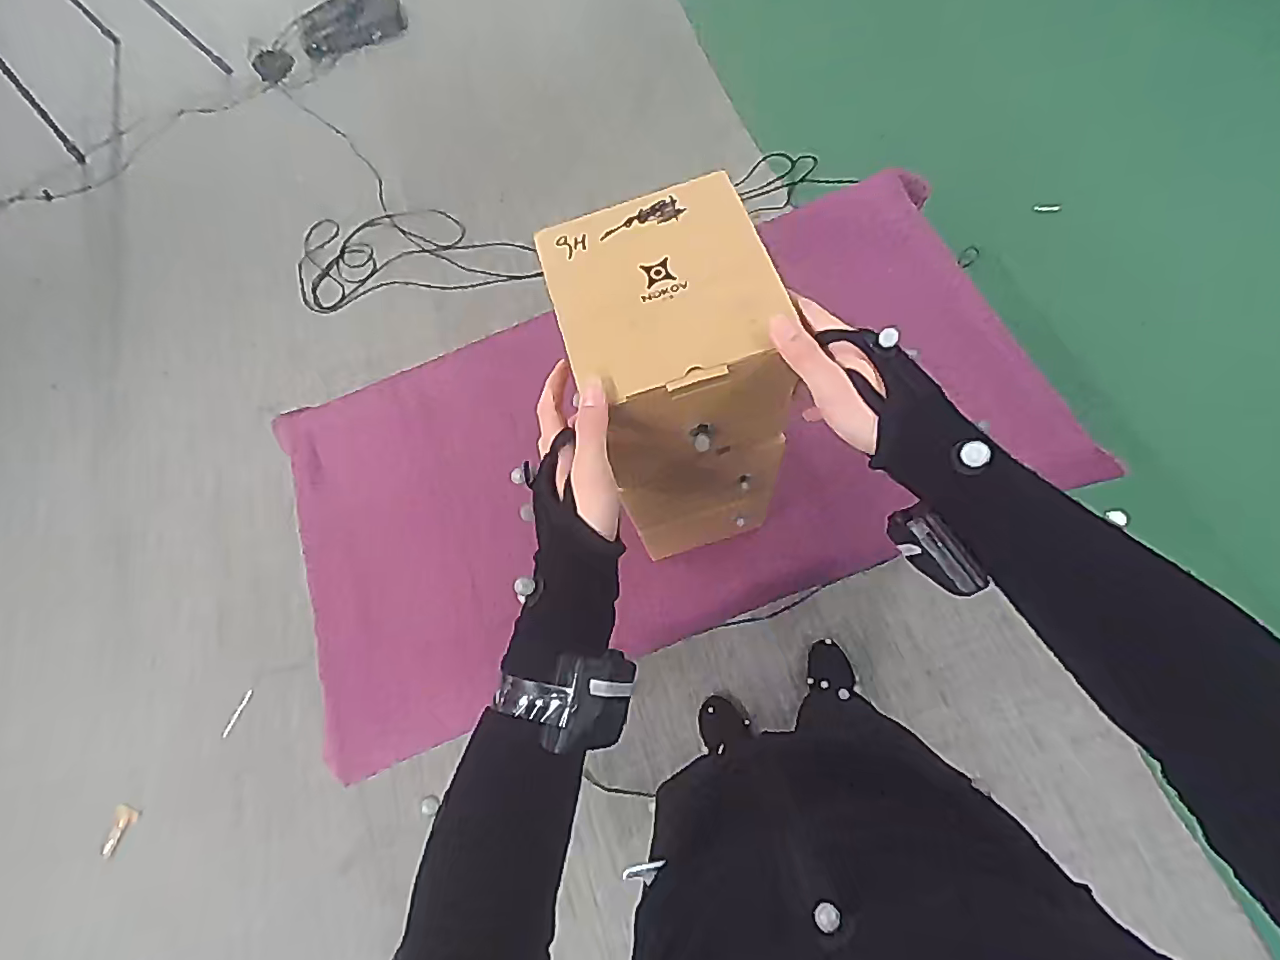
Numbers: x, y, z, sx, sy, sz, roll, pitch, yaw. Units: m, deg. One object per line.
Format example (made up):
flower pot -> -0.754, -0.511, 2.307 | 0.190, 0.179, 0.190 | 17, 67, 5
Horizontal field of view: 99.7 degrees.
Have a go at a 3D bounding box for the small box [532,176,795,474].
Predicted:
small box -> 0.022, -0.119, 0.483 | 0.168, 0.176, 0.179 | -17, 69, 1

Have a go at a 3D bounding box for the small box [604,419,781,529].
small box -> 0.045, -0.058, 0.632 | 0.179, 0.176, 0.168 | -17, 68, 2
